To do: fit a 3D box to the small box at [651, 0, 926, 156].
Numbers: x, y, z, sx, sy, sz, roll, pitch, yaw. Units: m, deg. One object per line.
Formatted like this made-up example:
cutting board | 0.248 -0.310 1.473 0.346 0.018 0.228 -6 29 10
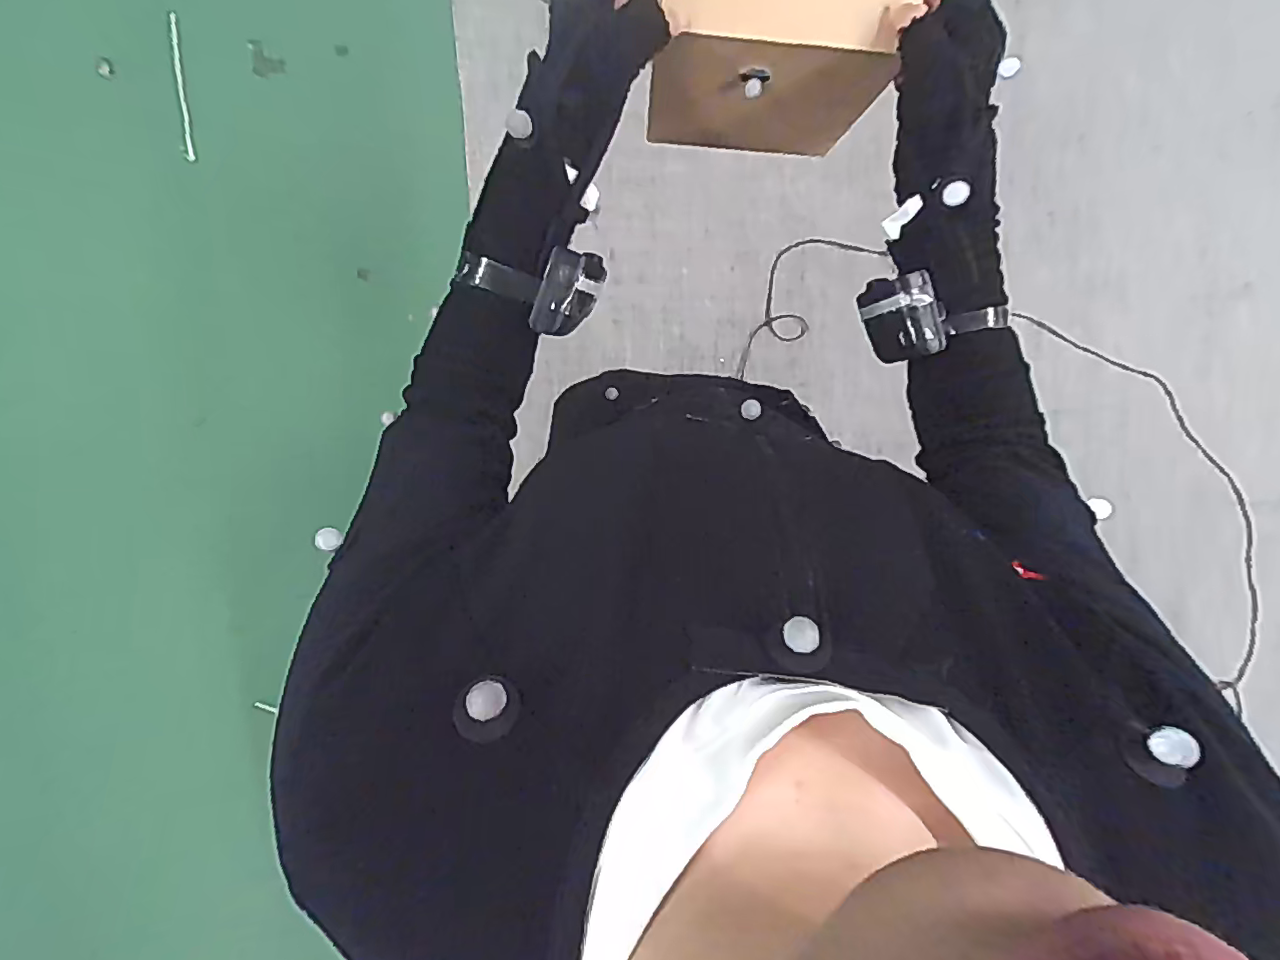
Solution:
small box | 0.103 -0.380 0.425 0.179 0.176 0.168 3 100 -4
